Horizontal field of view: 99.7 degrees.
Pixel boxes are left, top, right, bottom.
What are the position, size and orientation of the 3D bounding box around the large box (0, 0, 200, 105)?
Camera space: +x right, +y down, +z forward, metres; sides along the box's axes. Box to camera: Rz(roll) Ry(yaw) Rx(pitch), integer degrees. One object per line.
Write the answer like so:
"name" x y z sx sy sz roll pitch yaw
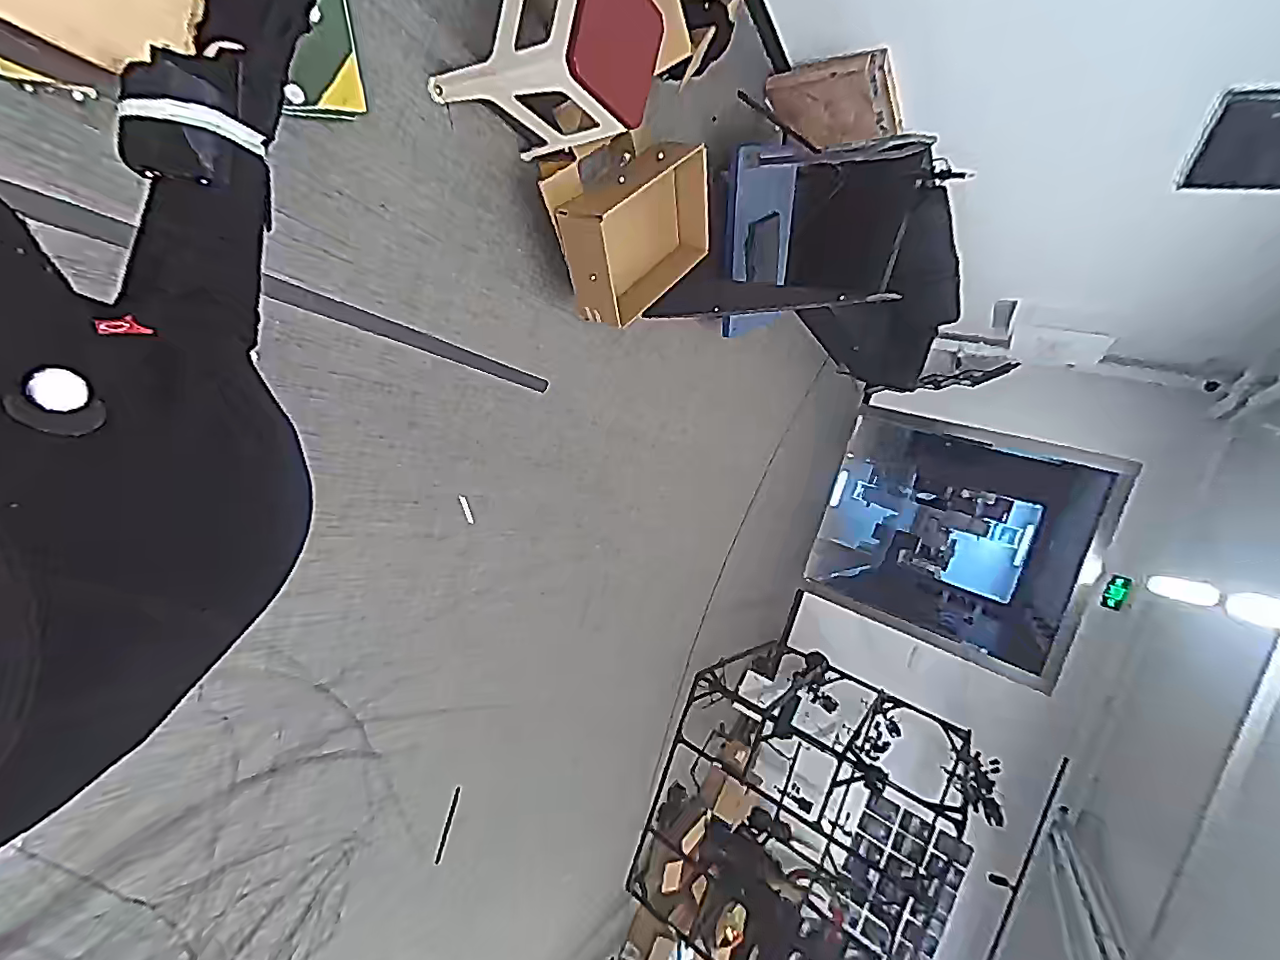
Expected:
"large box" -0.501 -0.463 0.258 0.408 0.320 0.320 -1 114 -61
